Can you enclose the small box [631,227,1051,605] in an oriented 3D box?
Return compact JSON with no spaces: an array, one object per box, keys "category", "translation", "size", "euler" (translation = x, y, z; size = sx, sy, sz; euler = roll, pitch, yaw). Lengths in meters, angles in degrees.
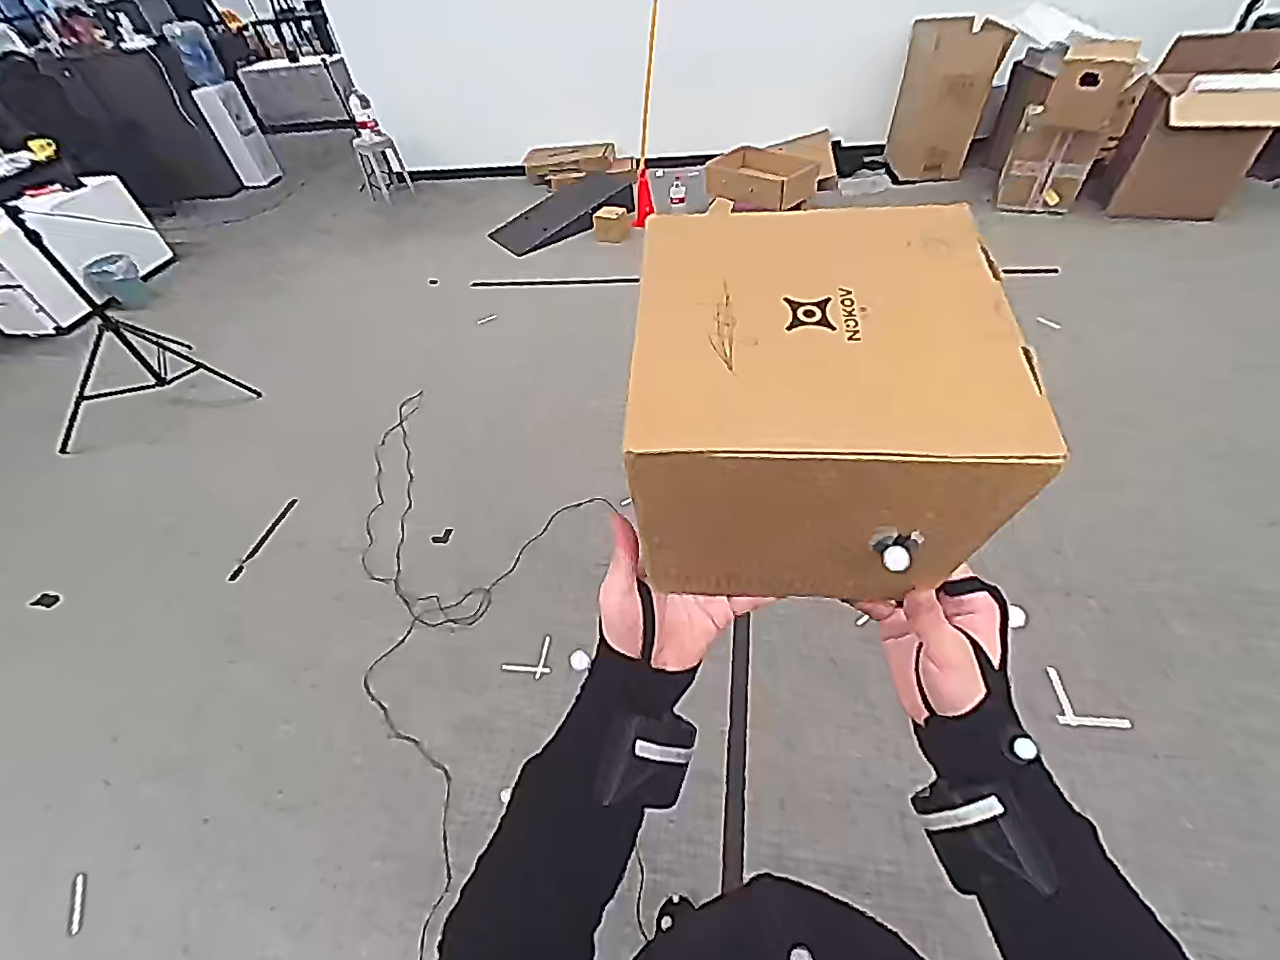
[{"category":"small box","translation":[0.093,-0.029,0.336],"size":[0.179,0.176,0.168],"euler":[0,57,6]}]
